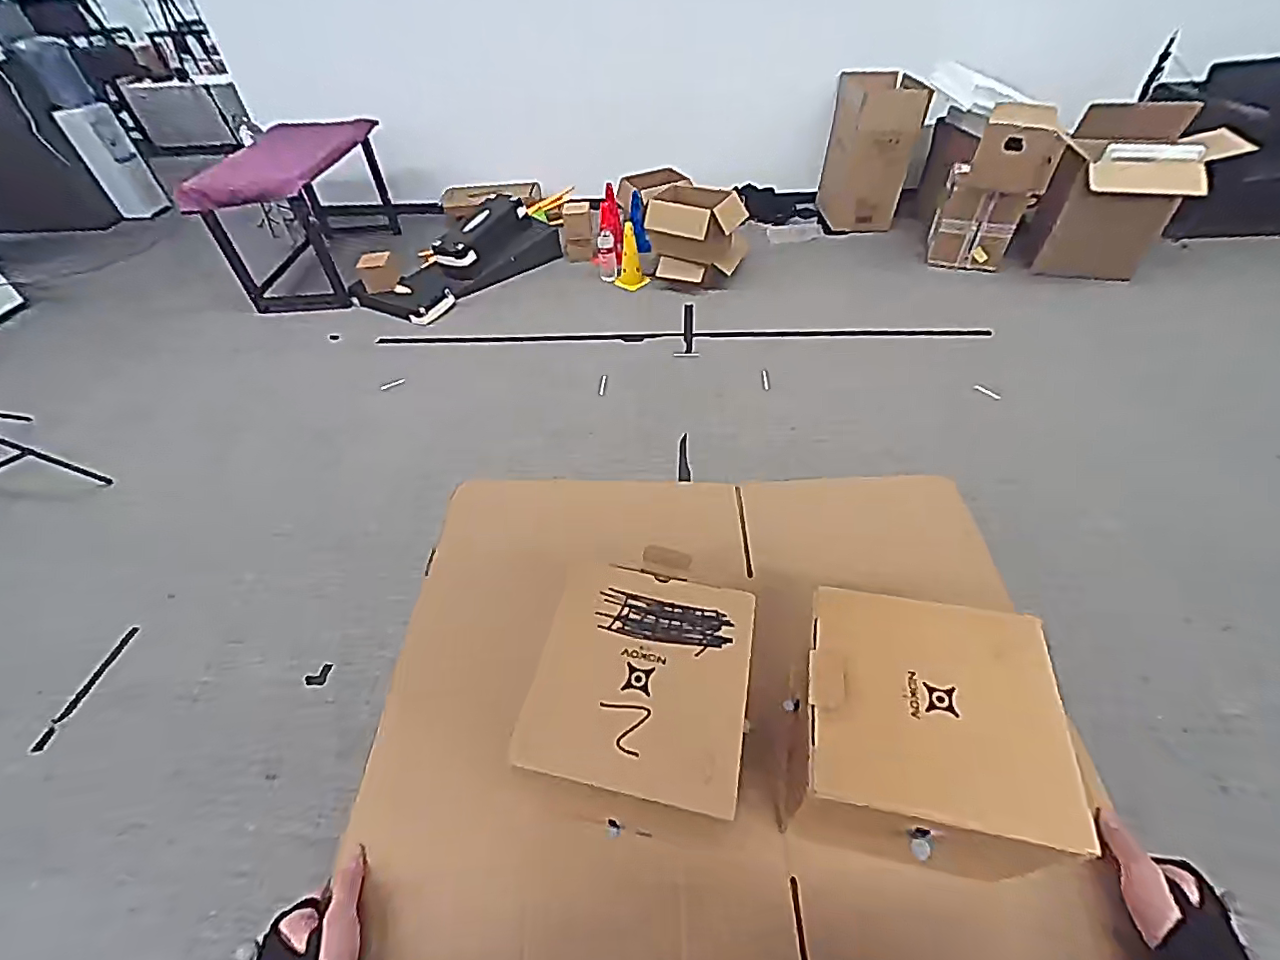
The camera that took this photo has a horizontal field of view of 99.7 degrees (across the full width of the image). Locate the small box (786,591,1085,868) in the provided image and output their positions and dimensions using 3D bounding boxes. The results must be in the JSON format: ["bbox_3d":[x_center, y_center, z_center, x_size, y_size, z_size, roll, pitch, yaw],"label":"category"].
[{"bbox_3d":[0.231,0.221,0.476,0.179,0.176,0.168,5,50,13],"label":"small box"}]
